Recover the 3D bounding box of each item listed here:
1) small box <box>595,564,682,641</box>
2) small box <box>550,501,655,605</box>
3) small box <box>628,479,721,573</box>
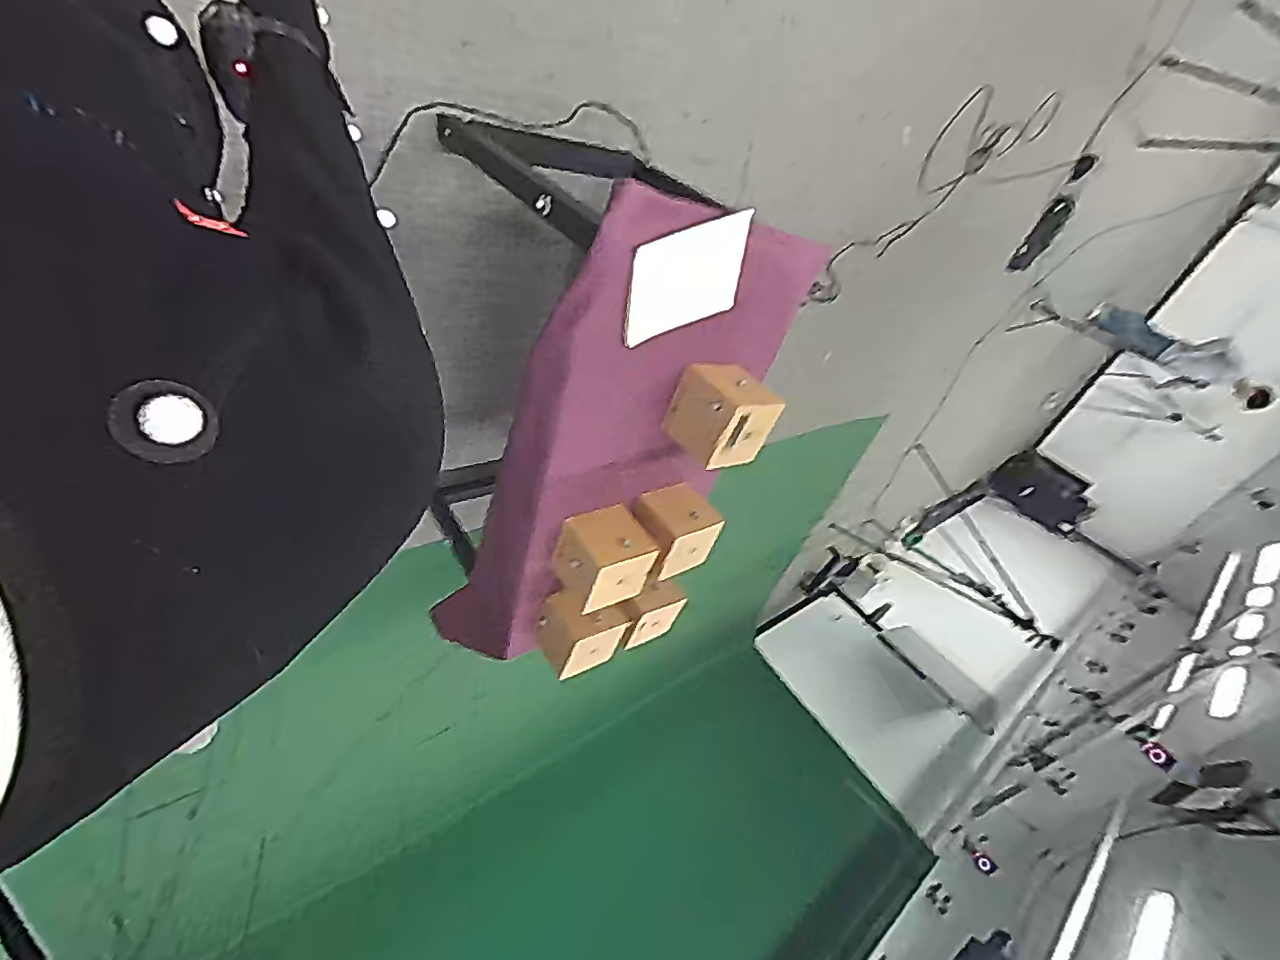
[{"bbox_3d":[-0.011,0.350,1.646,0.179,0.176,0.168,-11,136,-42],"label":"small box"},{"bbox_3d":[-0.099,0.174,1.334,0.179,0.176,0.168,-12,137,-40],"label":"small box"},{"bbox_3d":[0.079,0.116,1.459,0.179,0.176,0.168,-13,139,-38],"label":"small box"}]
